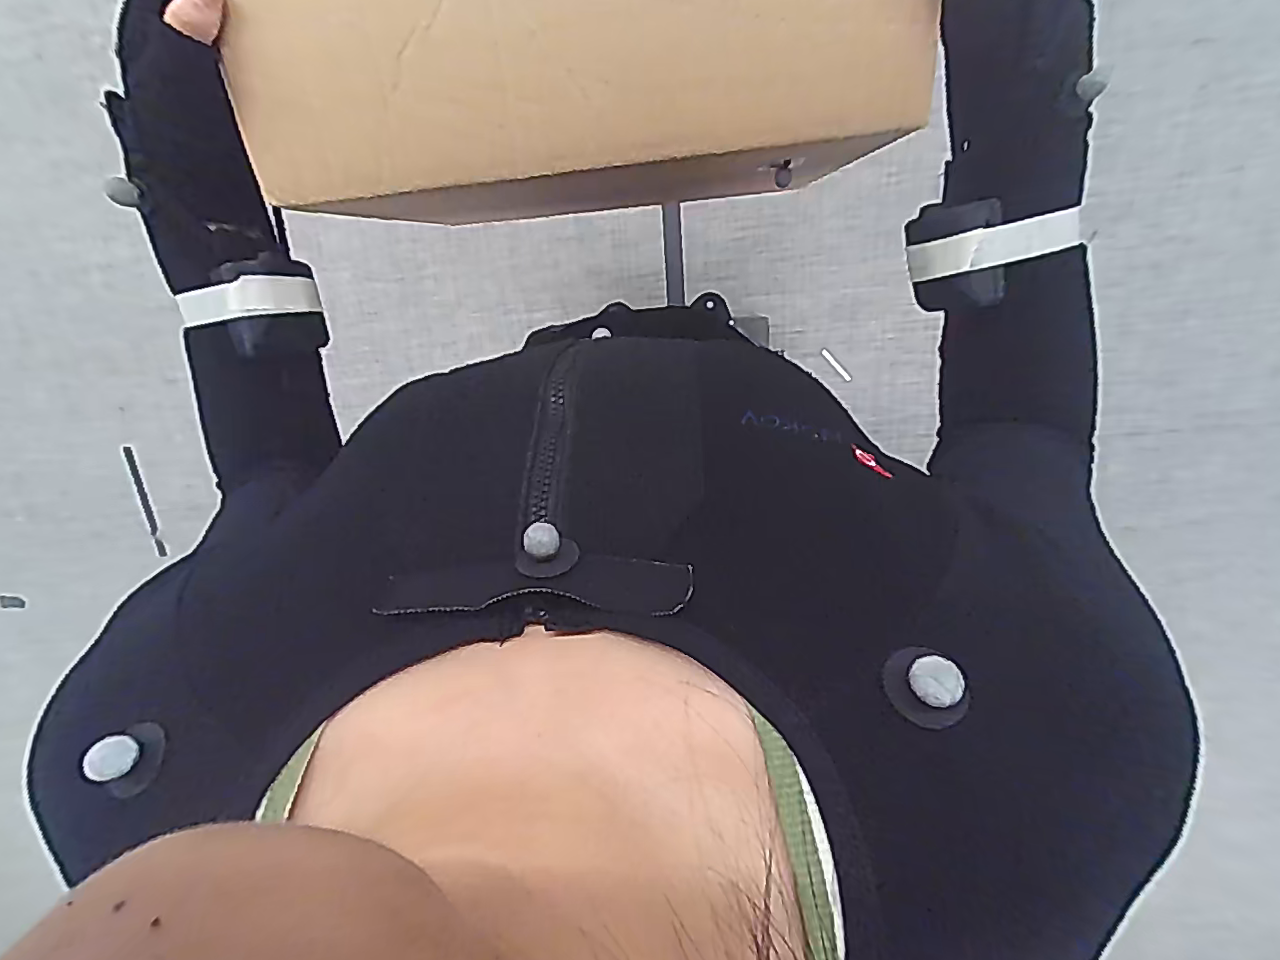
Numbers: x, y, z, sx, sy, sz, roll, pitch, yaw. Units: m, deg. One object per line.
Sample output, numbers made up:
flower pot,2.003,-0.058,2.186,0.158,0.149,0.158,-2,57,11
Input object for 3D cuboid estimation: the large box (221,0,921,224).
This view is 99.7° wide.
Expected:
large box,-0.041,-0.393,0.418,0.408,0.320,0.320,-4,112,5

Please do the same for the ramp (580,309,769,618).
ramp,0.137,0.021,1.613,0.509,0.206,0.991,-6,108,5
